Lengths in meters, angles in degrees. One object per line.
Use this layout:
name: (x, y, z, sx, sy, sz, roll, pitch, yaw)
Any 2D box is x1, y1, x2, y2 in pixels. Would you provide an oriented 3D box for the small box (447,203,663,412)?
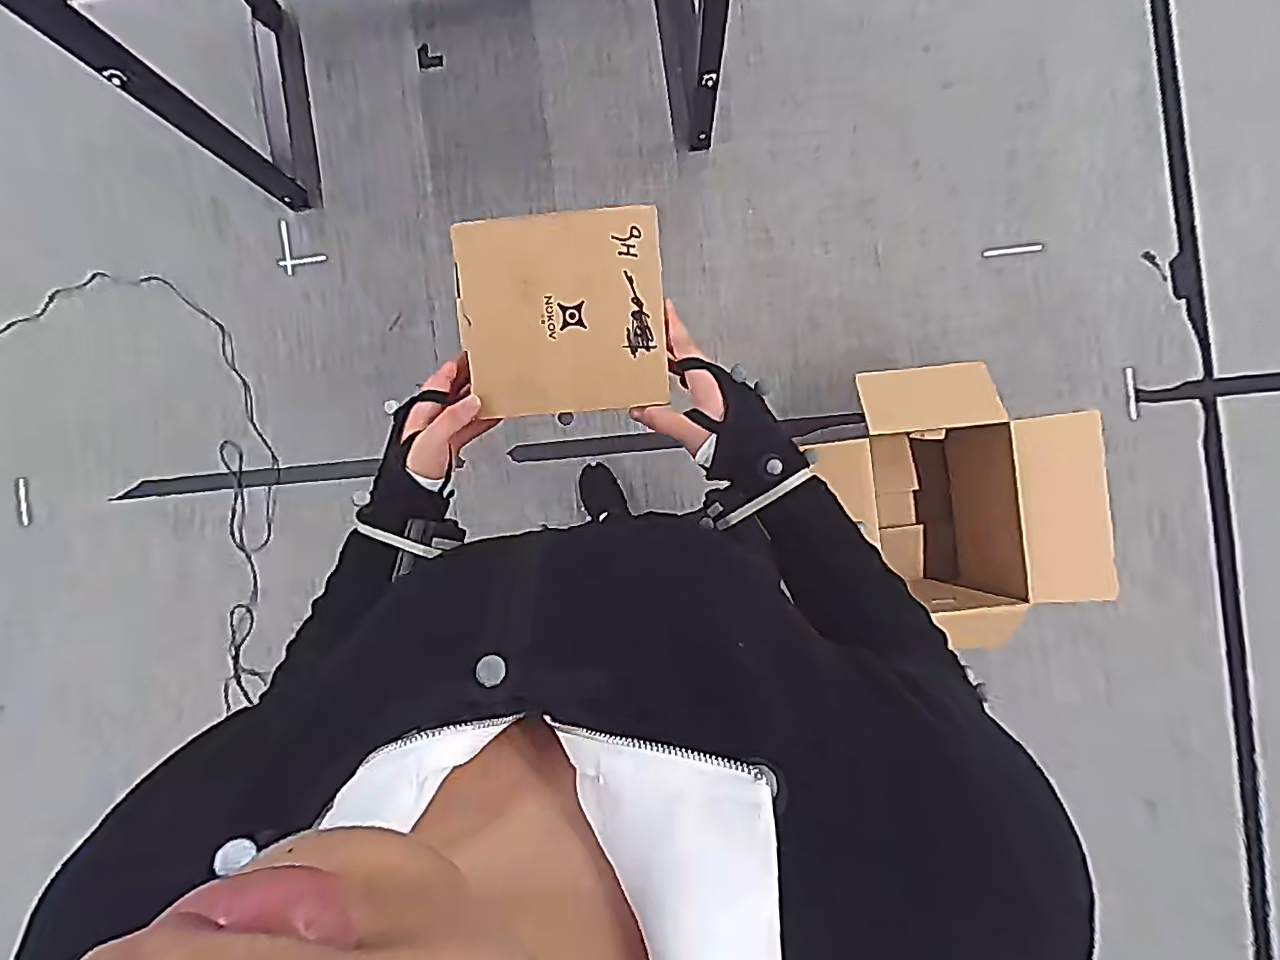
small box: (-0.068, -0.154, 0.537, 0.179, 0.176, 0.168, -4, 99, 2)
